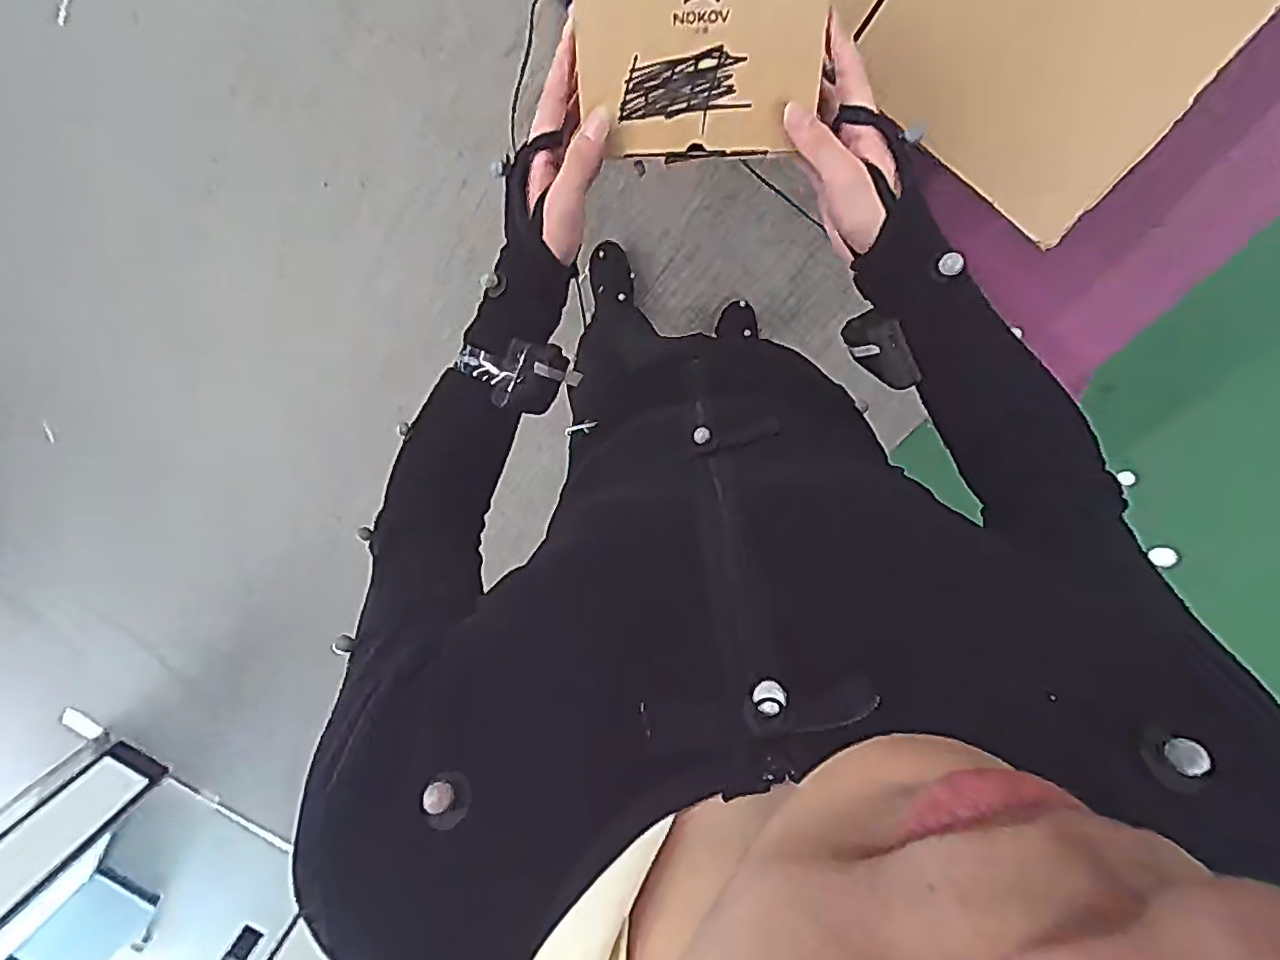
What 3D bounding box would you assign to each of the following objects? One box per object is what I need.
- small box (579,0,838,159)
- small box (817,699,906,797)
[{"bbox_3d":[0.048,-0.345,0.407,0.168,0.176,0.179,2,120,3],"label":"small box"},{"bbox_3d":[0.668,0.812,1.650,0.179,0.176,0.168,43,112,-8],"label":"small box"}]
